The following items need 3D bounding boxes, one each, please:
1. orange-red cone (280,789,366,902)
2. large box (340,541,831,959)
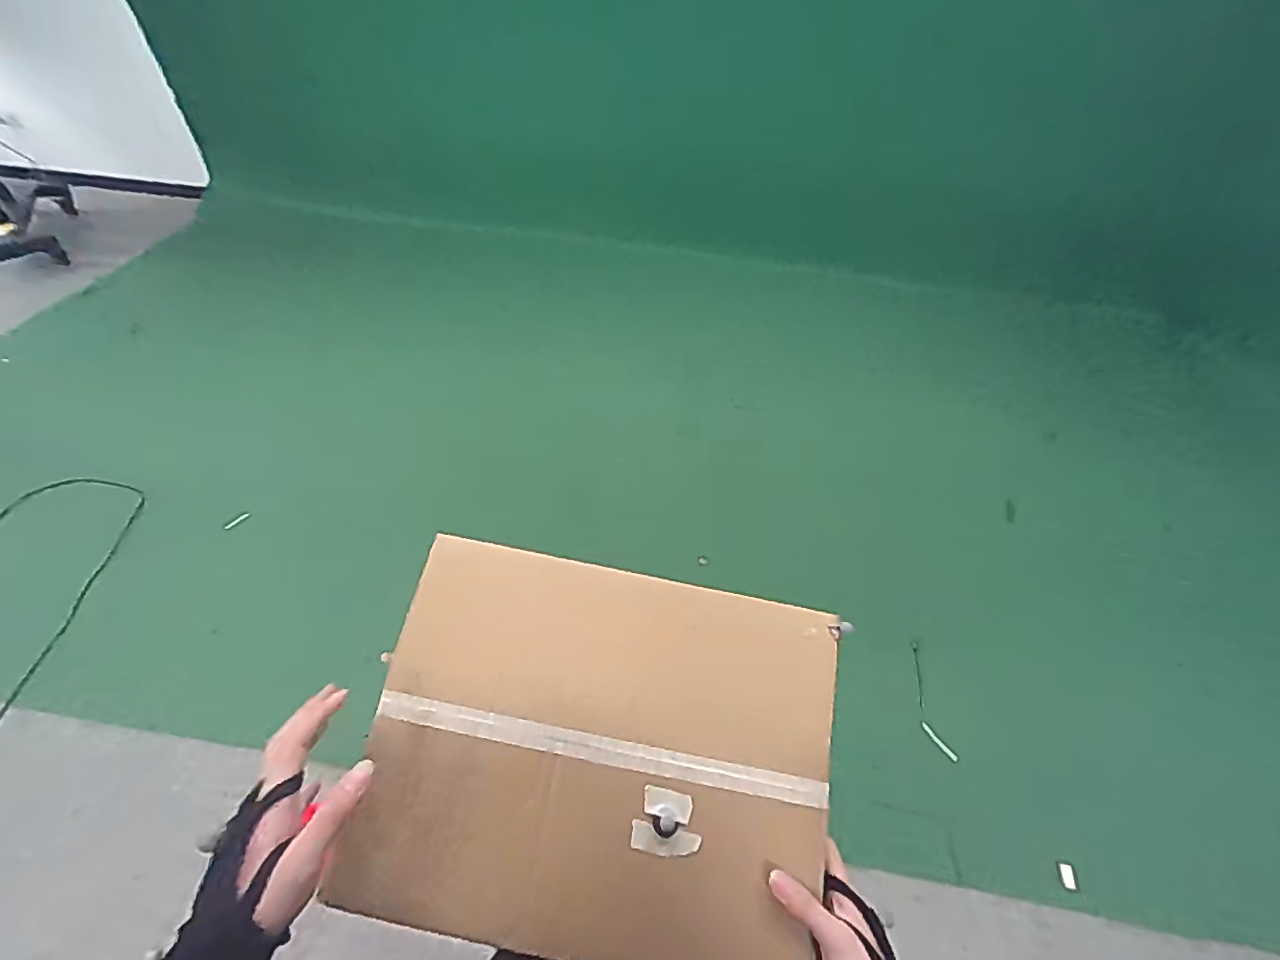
[{"bbox_3d":[-0.694,0.768,1.188,0.199,0.360,0.198,13,48,10],"label":"orange-red cone"},{"bbox_3d":[-0.038,0.286,0.633,0.408,0.320,0.320,11,71,1],"label":"large box"}]
